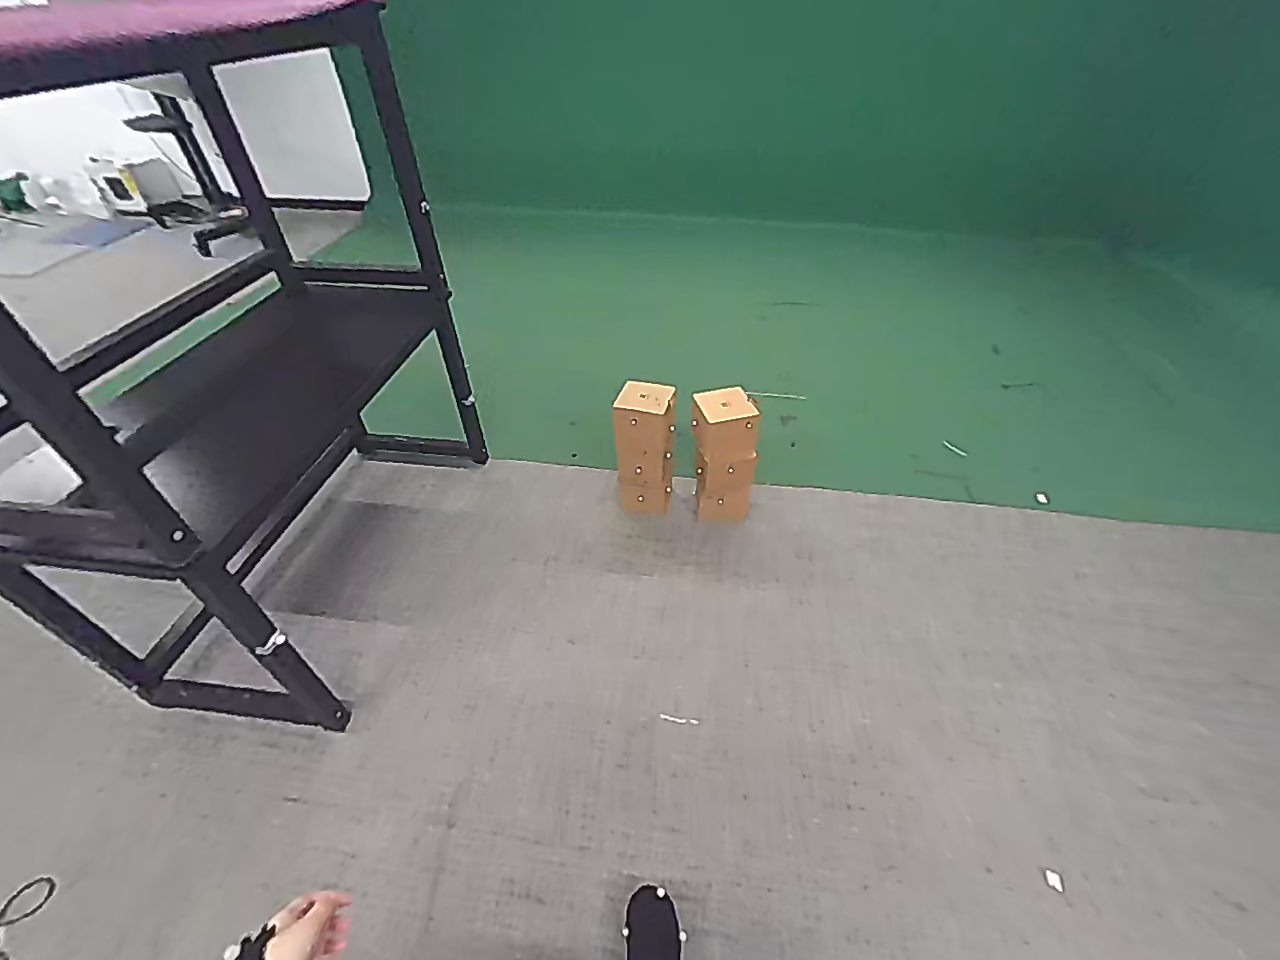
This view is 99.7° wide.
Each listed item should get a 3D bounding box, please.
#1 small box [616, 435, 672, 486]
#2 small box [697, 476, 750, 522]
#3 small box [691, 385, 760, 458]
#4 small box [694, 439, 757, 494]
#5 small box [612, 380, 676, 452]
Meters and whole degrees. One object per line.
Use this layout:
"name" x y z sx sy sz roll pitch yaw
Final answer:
"small box" 0.020 -0.101 1.945 0.168 0.176 0.179 9 44 12
"small box" 0.305 0.044 2.025 0.179 0.176 0.168 1 43 1
"small box" 0.277 -0.190 1.800 0.179 0.176 0.168 -11 45 -12
"small box" 0.294 -0.068 1.907 0.179 0.176 0.168 -8 45 -9
"small box" 0.016 -0.215 1.824 0.179 0.176 0.168 11 45 14
